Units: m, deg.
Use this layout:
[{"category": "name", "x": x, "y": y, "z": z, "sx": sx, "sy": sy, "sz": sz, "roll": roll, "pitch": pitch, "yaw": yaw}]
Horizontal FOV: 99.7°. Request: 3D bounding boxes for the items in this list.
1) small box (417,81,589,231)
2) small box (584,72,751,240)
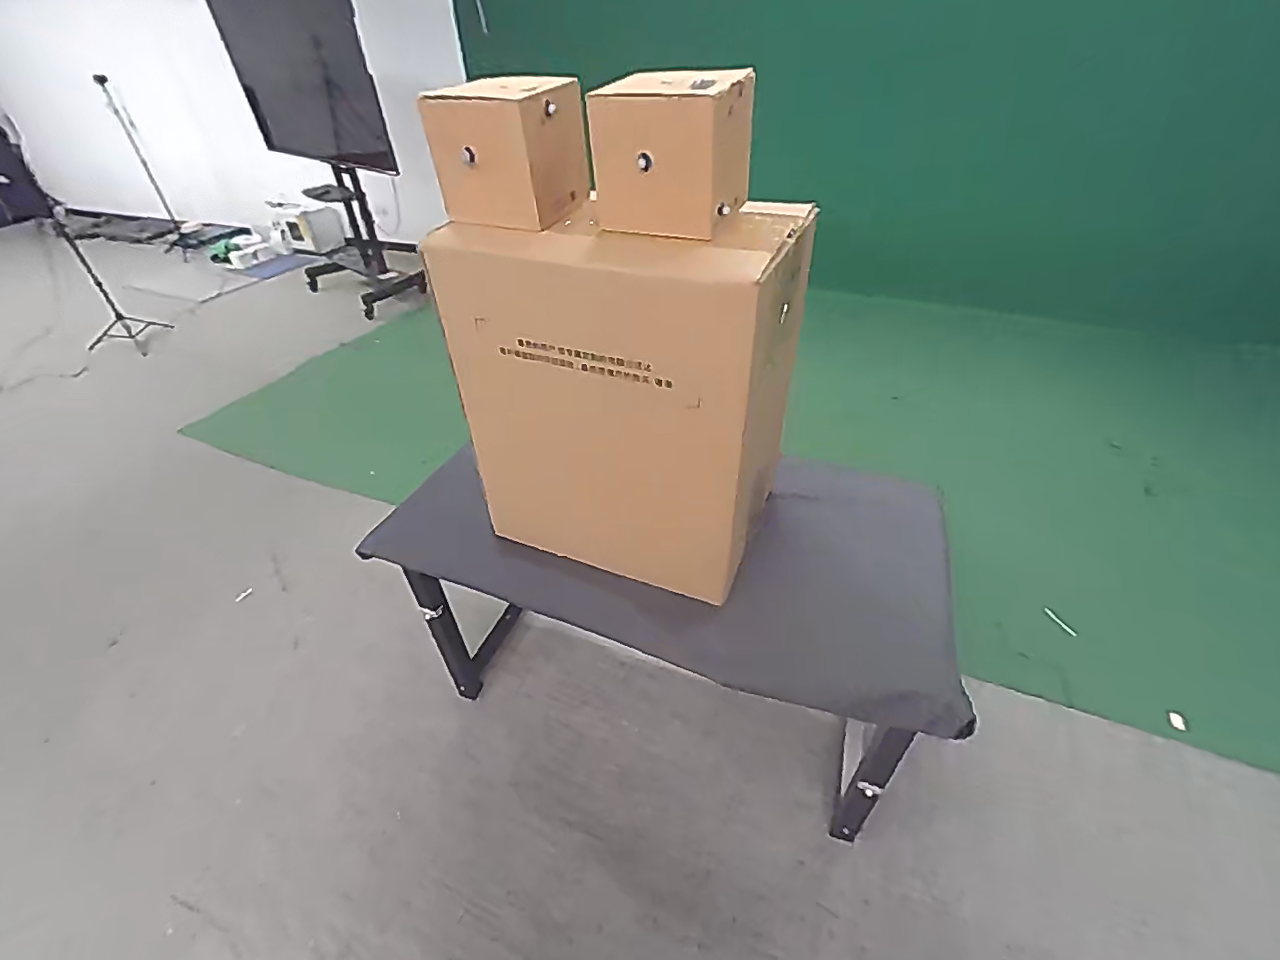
[{"category": "small box", "x": -0.198, "y": -0.498, "z": 0.834, "sx": 0.179, "sy": 0.176, "sz": 0.168, "roll": 14, "pitch": 47, "yaw": 20}, {"category": "small box", "x": 0.045, "y": -0.454, "z": 0.762, "sx": 0.179, "sy": 0.176, "sz": 0.168, "roll": 15, "pitch": 47, "yaw": 21}]
